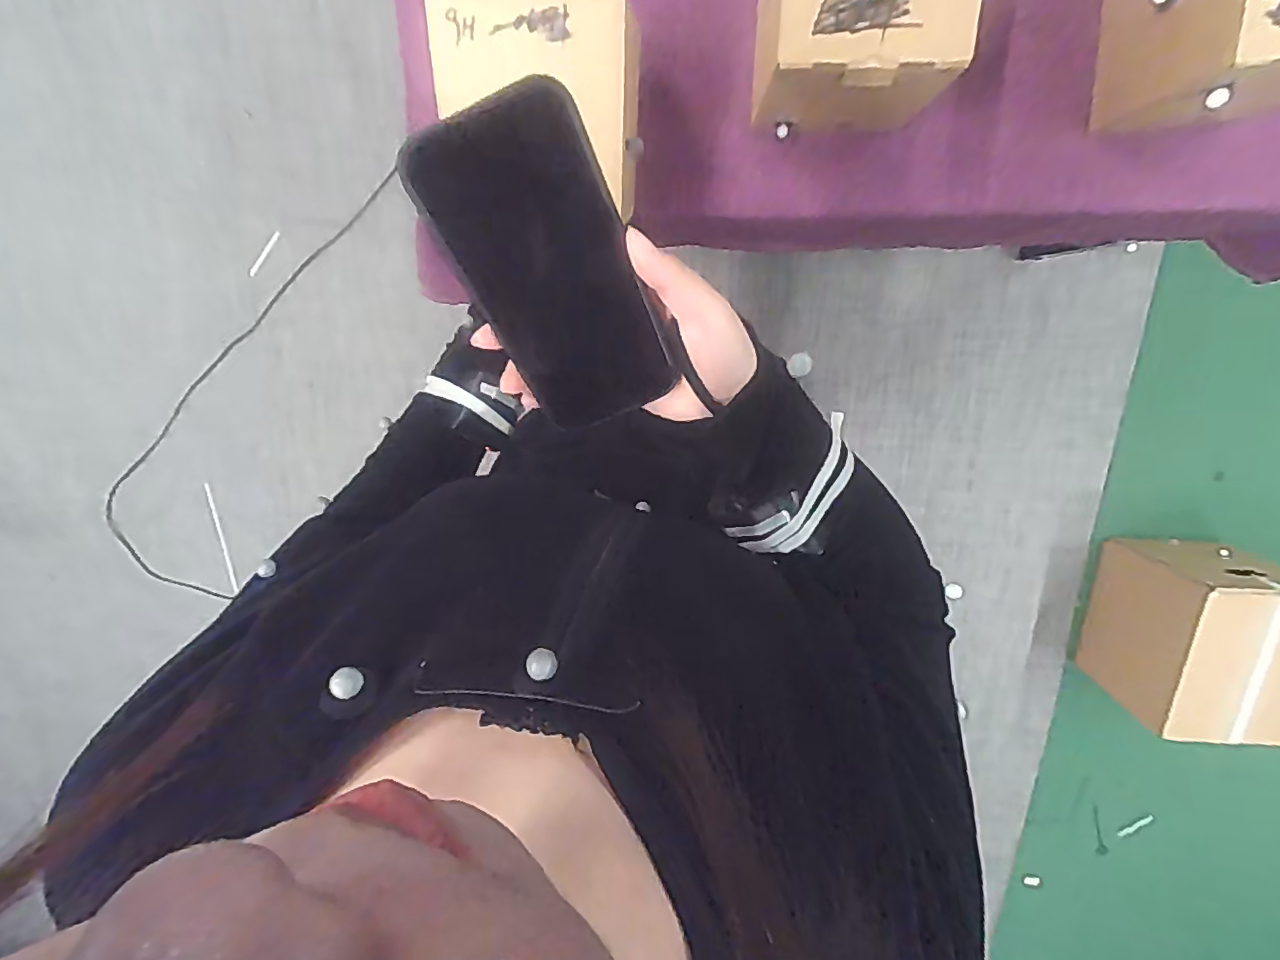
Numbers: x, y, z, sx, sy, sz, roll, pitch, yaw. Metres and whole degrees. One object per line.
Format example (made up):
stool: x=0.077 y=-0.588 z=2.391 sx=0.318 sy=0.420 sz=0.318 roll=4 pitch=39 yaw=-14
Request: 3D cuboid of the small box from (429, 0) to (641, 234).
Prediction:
small box: x=-0.088 y=-0.358 z=0.543 sx=0.168 sy=0.176 sz=0.179 roll=4 pitch=121 yaw=2

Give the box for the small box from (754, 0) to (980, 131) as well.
small box: x=0.206 y=-0.456 z=0.516 sx=0.168 sy=0.176 sz=0.179 roll=2 pitch=106 yaw=3
